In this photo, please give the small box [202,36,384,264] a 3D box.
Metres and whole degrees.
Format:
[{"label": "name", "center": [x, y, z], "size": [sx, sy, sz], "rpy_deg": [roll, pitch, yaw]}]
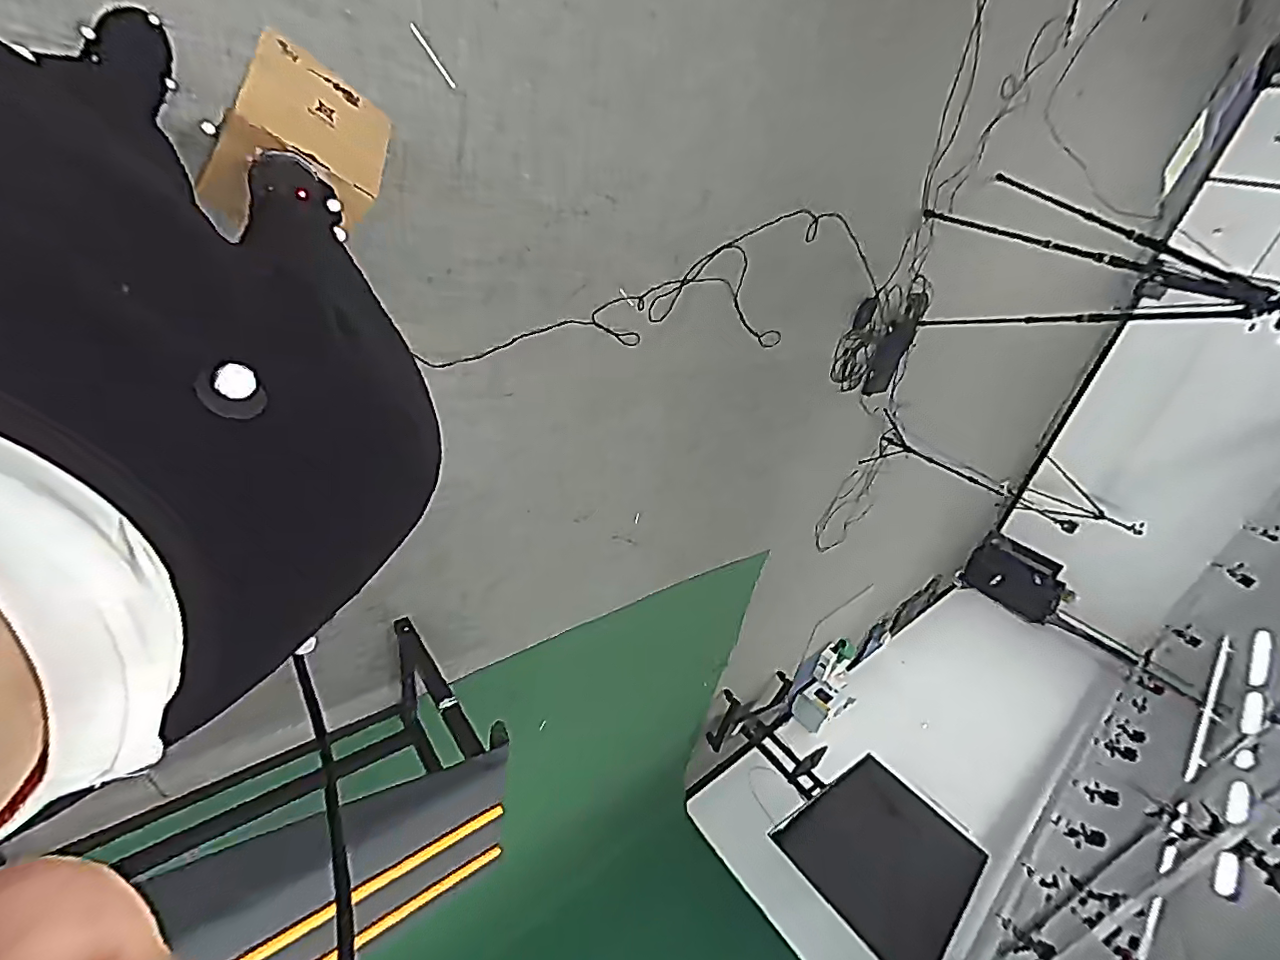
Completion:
[{"label": "small box", "center": [-0.485, -0.444, 0.759], "size": [0.176, 0.179, 0.168], "rpy_deg": [-24, 151, 37]}]
